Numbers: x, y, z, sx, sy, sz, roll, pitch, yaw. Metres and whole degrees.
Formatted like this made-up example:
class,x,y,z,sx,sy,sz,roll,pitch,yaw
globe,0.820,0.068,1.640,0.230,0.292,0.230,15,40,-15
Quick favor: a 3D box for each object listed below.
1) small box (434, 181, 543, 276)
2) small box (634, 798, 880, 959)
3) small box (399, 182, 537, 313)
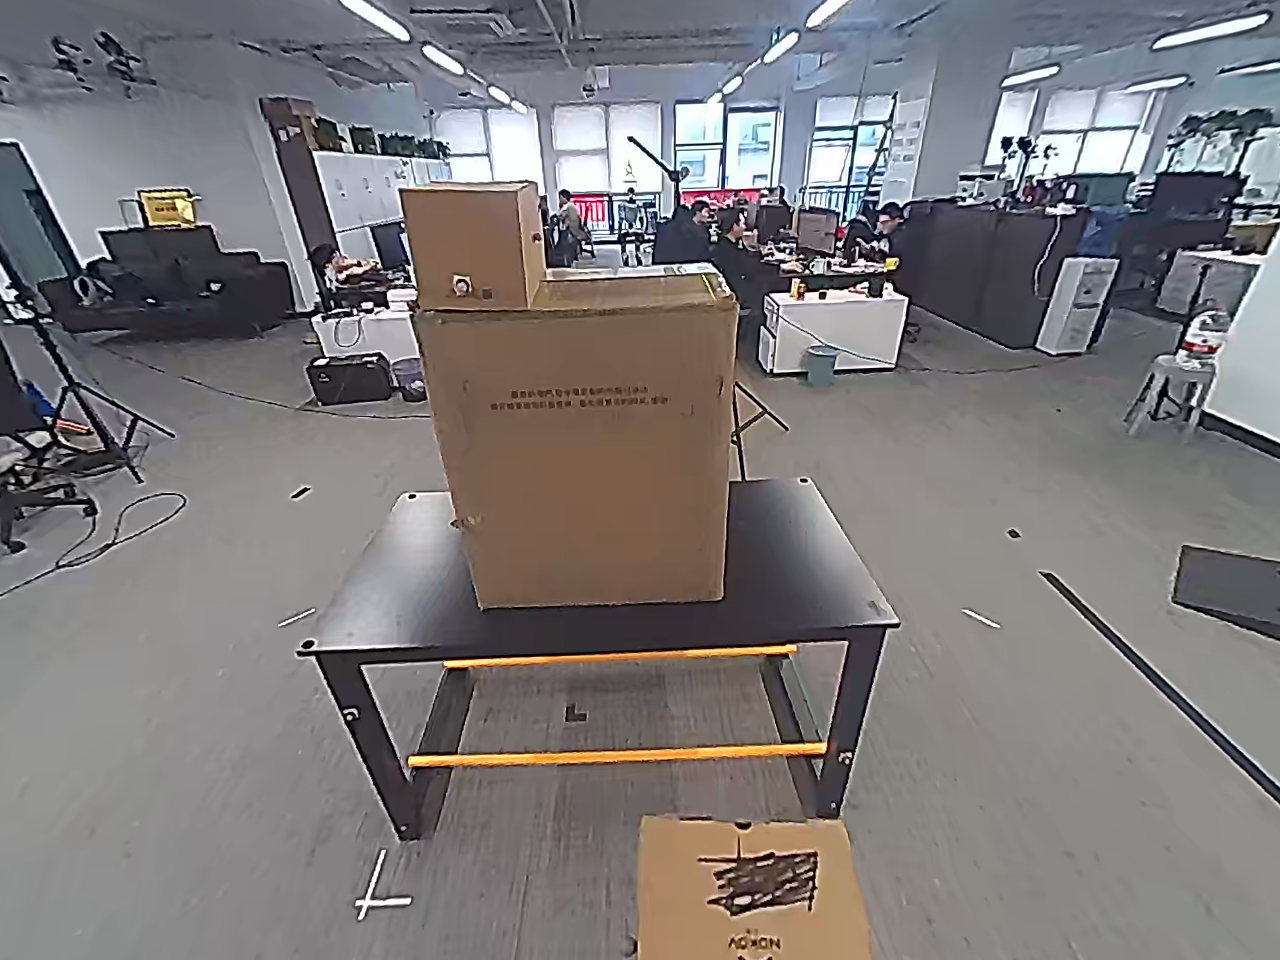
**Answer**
class,x,y,z,sx,sy,sz,roll,pitch,yaw
small box,-0.282,-0.479,1.043,0.168,0.176,0.179,-2,28,-2
small box,0.079,0.376,0.423,0.168,0.176,0.179,1,42,0
small box,-0.257,-0.372,0.858,0.168,0.176,0.179,-2,32,-4
